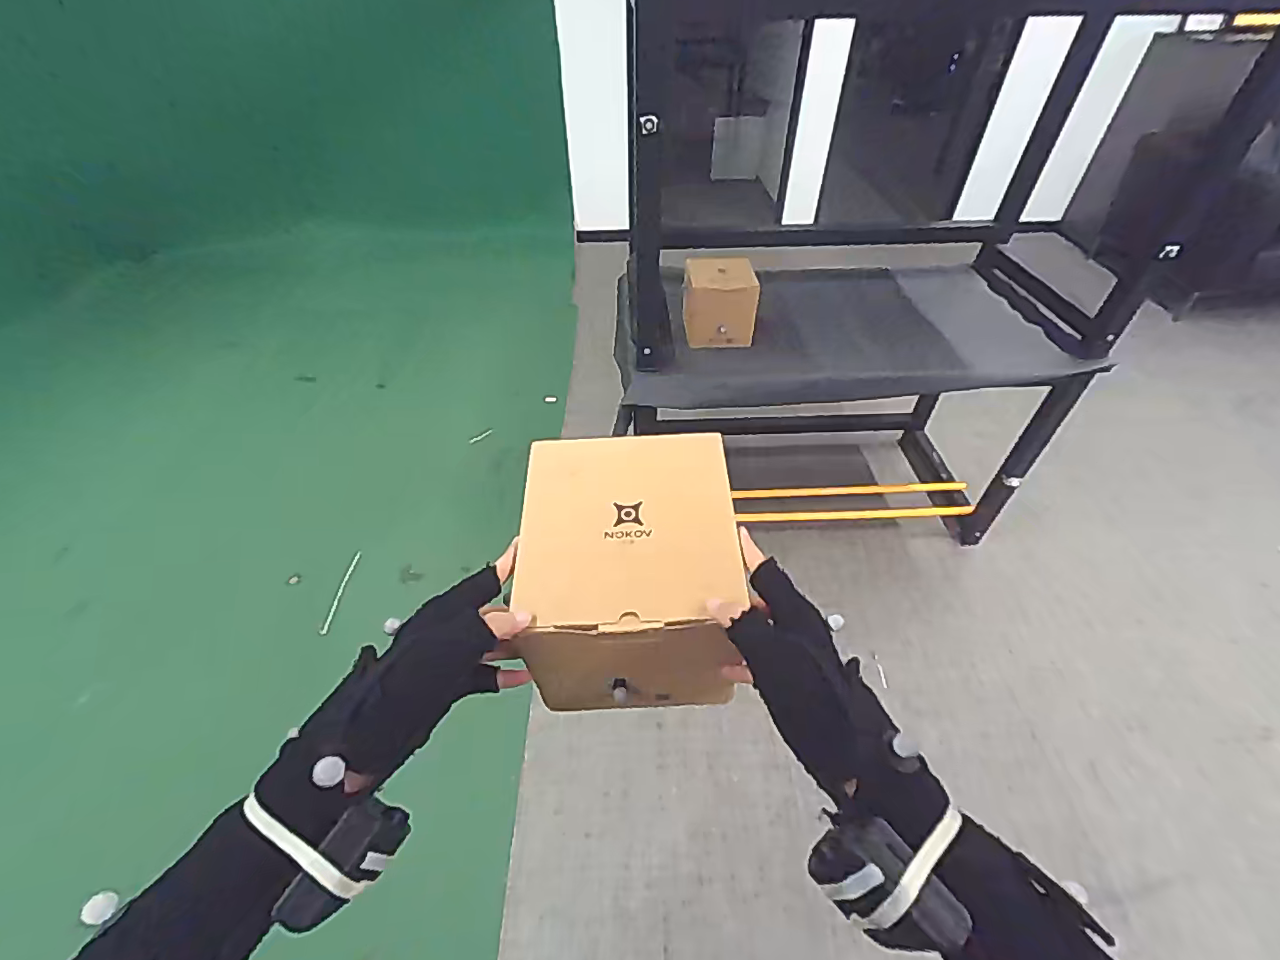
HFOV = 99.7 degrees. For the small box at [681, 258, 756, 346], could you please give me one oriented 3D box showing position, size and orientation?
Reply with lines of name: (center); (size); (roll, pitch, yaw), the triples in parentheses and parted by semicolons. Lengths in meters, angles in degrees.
small box: (0.198, -0.469, 1.425); (0.168, 0.176, 0.179); (-2, 44, -1)
